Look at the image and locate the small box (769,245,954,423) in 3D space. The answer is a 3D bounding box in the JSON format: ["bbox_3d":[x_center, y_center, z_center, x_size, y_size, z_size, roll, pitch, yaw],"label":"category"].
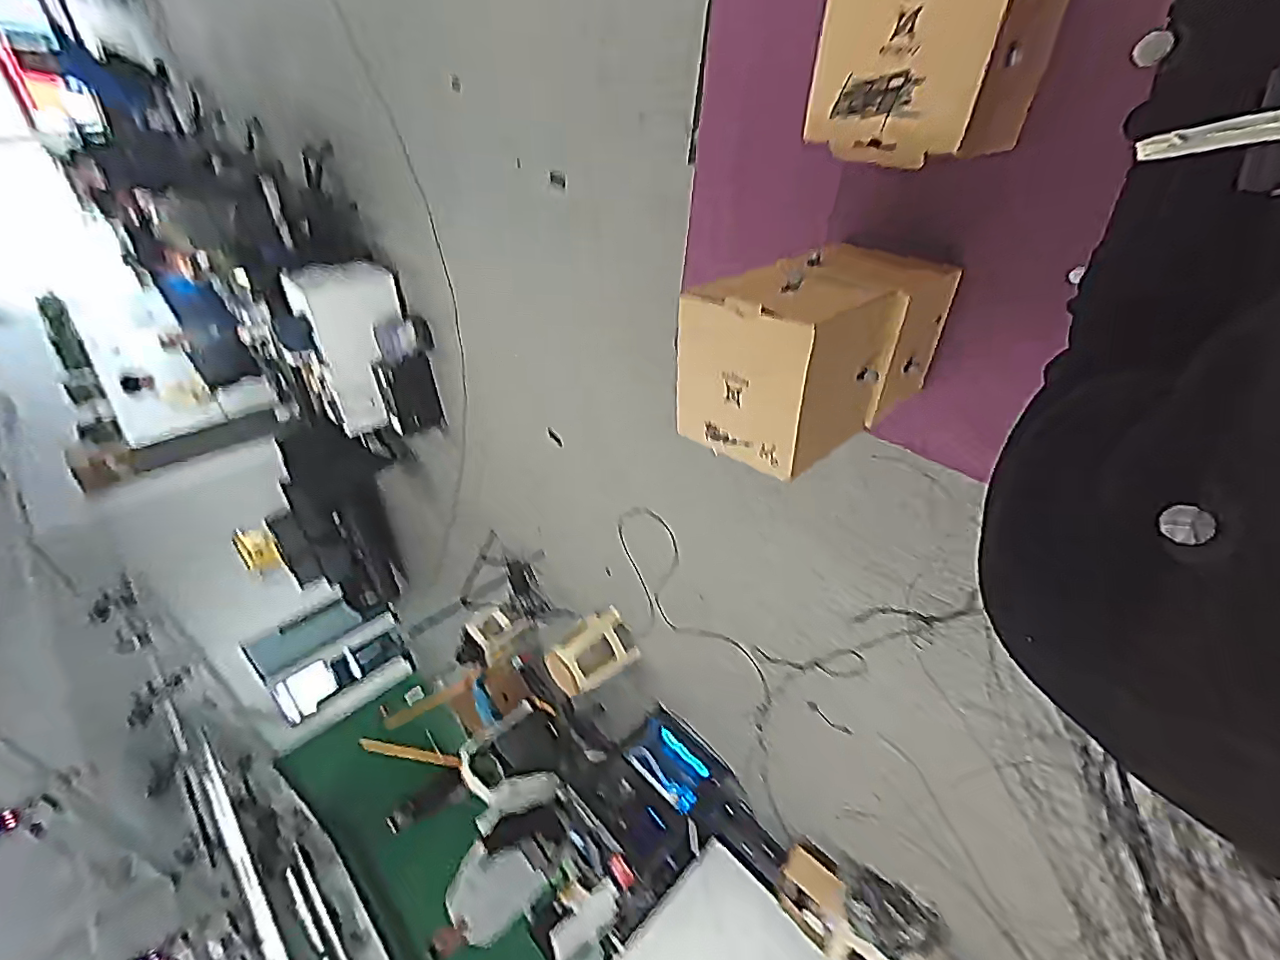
[{"bbox_3d":[0.280,-0.203,0.718,0.179,0.176,0.168,31,136,35],"label":"small box"}]

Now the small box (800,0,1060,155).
[{"bbox_3d":[0.290,-0.437,0.538,0.168,0.176,0.179,31,135,34],"label":"small box"}]

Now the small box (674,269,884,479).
[{"bbox_3d":[0.159,-0.135,0.630,0.168,0.176,0.179,29,134,37],"label":"small box"}]
